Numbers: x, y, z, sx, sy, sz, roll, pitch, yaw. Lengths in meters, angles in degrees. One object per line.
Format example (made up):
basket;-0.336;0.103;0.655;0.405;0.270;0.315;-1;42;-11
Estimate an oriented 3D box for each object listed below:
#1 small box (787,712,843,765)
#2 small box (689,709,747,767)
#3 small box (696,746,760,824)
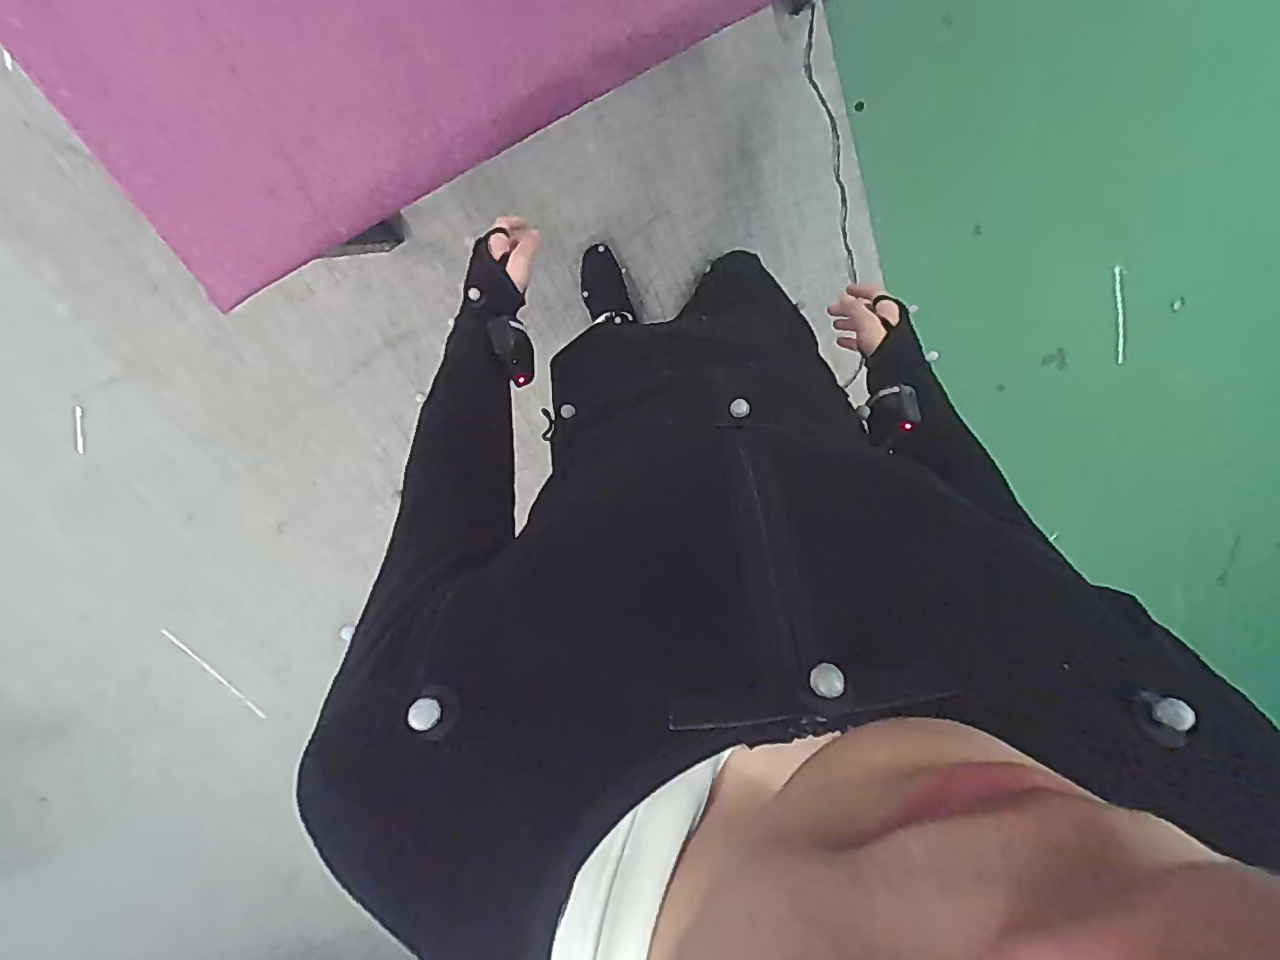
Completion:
small box;0.709;1.079;2.186;0.179;0.176;0.168;-23;116;5
small box;0.301;1.043;2.130;0.179;0.176;0.168;-22;115;4
small box;0.319;1.114;1.984;0.179;0.176;0.168;-19;115;3
